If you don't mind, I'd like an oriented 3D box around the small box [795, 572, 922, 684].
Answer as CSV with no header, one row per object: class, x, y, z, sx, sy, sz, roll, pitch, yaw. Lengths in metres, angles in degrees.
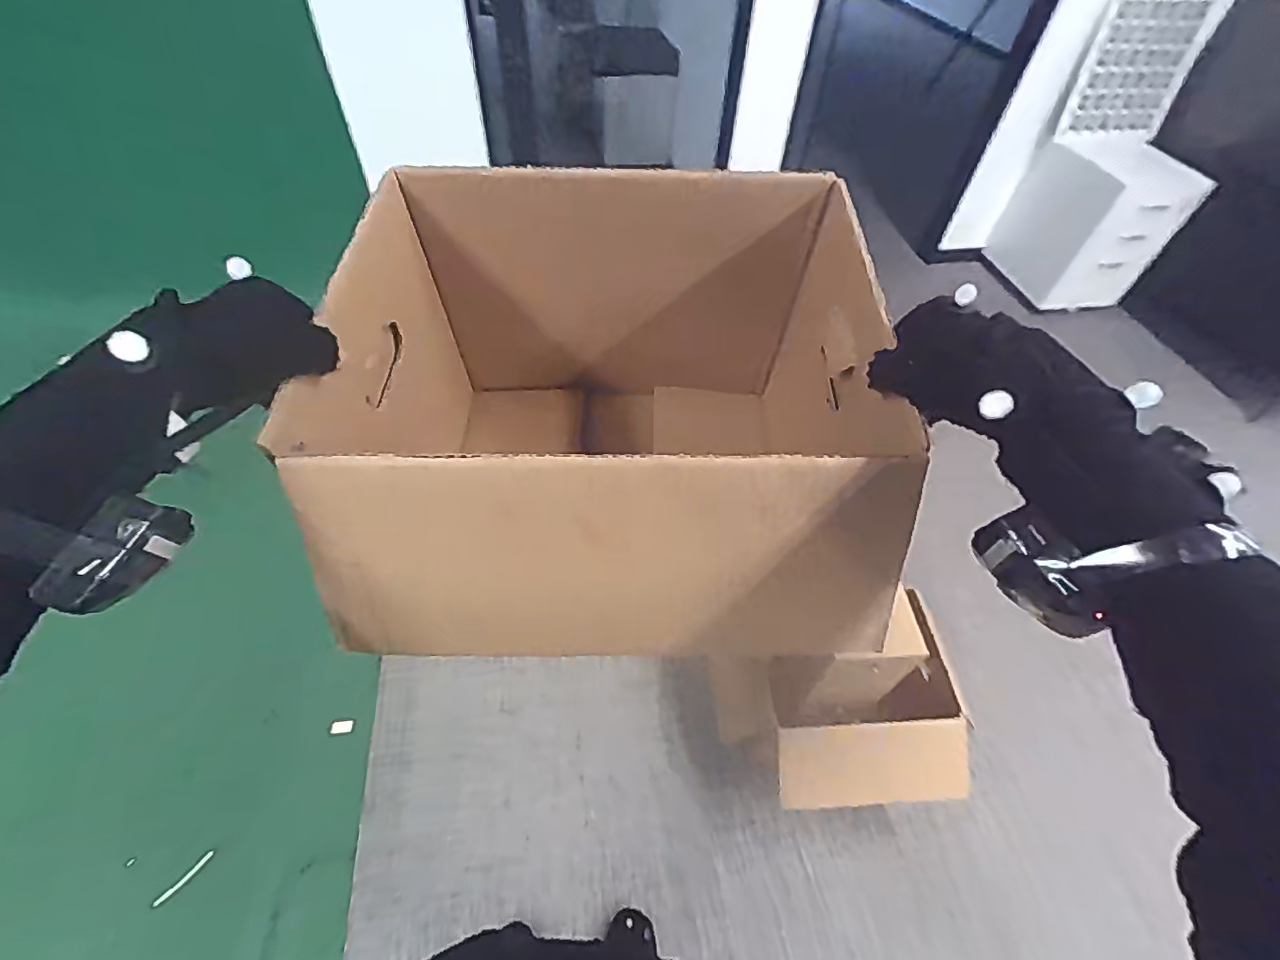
small box,0.426,0.304,1.098,0.179,0.176,0.168,-3,53,-4
